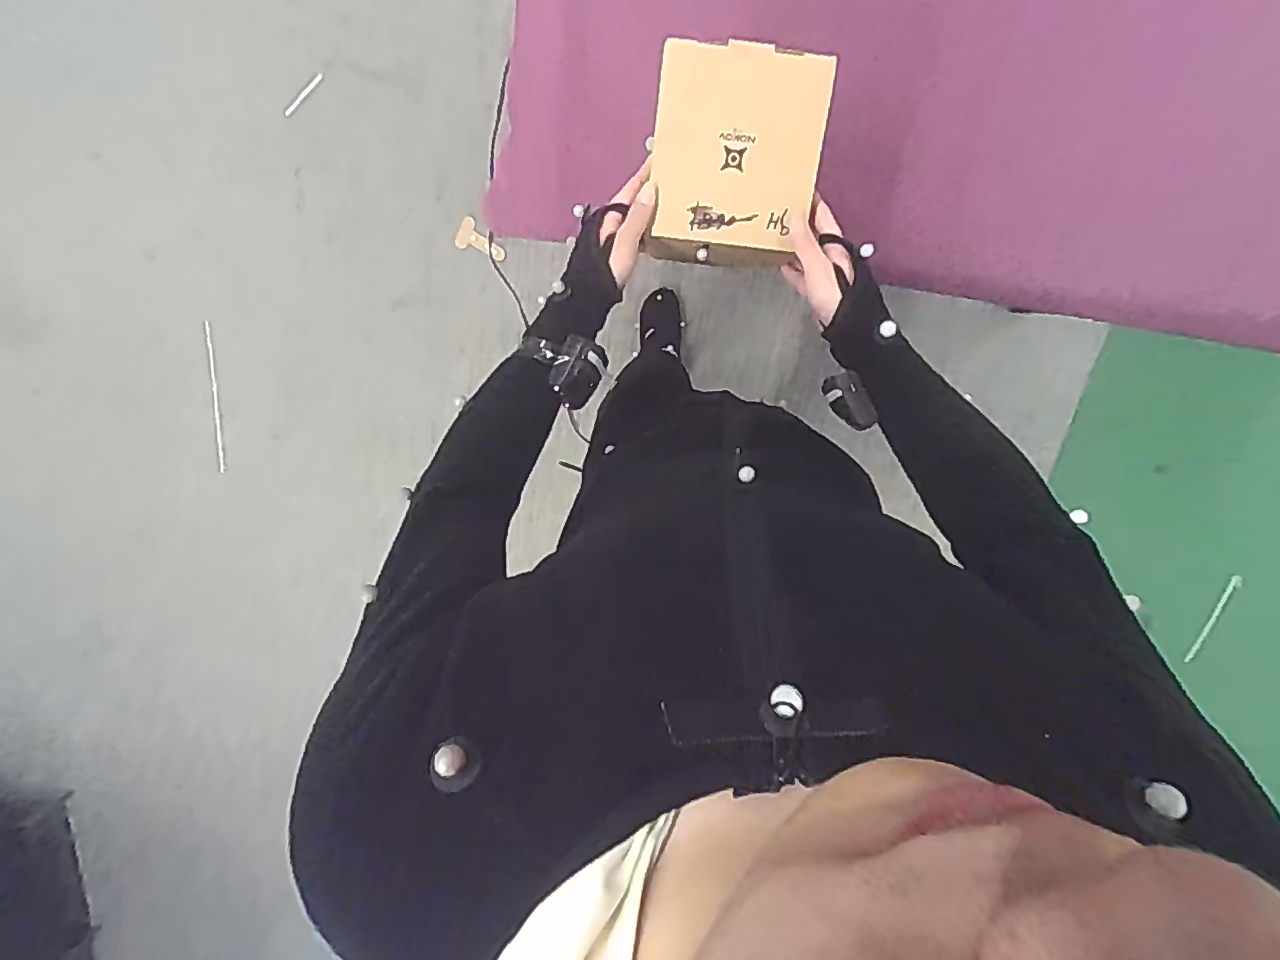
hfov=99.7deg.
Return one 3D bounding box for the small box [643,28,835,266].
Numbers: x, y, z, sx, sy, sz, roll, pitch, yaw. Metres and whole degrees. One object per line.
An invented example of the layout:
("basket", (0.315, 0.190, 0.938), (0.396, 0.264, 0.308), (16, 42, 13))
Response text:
("small box", (0.097, -0.352, 0.606), (0.168, 0.176, 0.179), (8, 105, 1))
